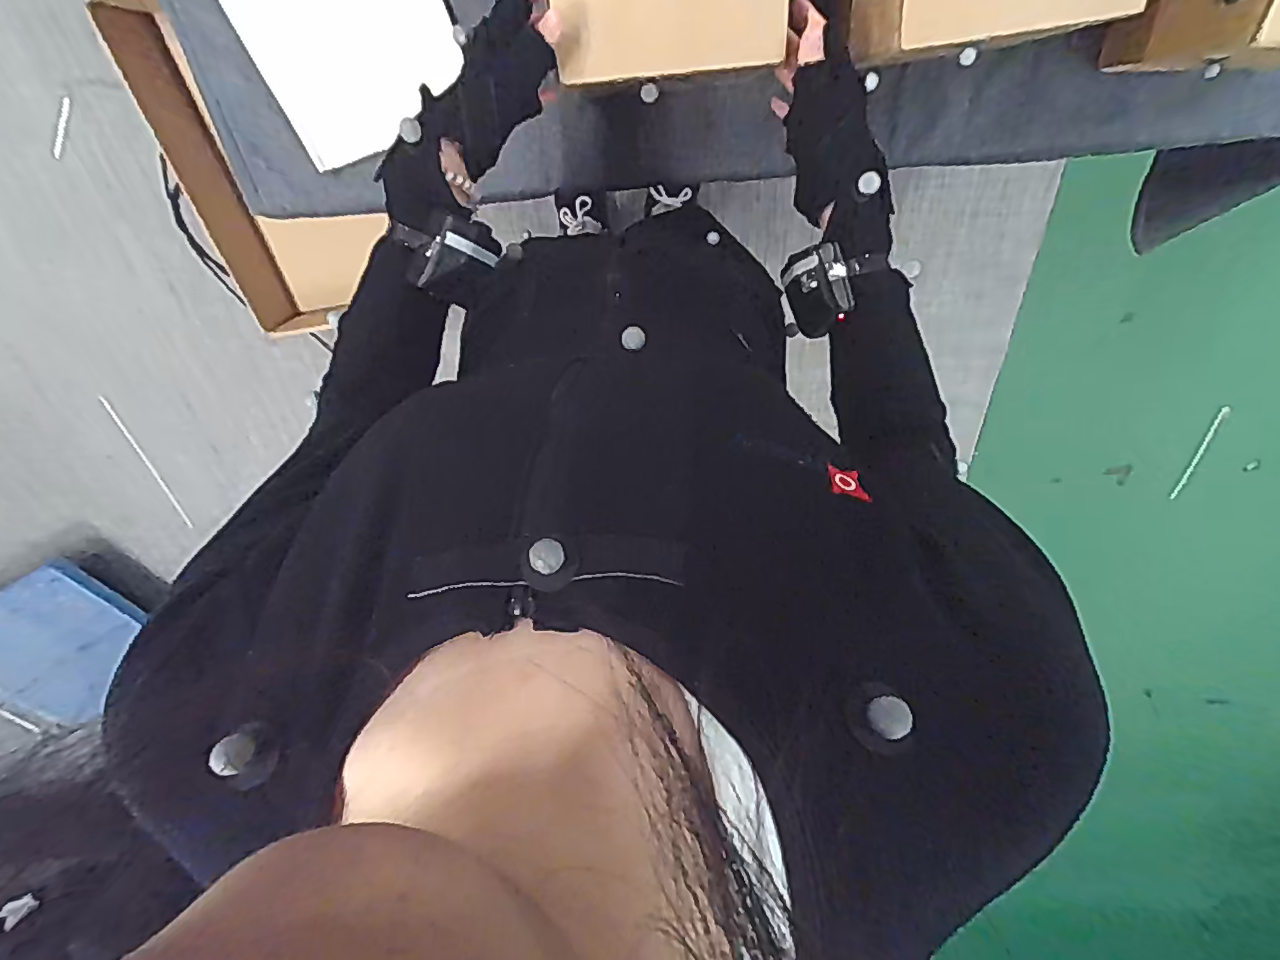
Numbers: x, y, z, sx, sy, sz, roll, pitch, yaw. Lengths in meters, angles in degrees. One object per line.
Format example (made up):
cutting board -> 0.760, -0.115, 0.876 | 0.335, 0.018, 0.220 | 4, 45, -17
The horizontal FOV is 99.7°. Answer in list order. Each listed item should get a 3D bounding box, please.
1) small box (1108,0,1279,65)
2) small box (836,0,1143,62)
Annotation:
small box -> 0.525, -0.438, 0.414 | 0.168, 0.176, 0.179 | -1, 123, 1
small box -> 0.263, -0.439, 0.412 | 0.179, 0.176, 0.168 | -6, 123, 3
